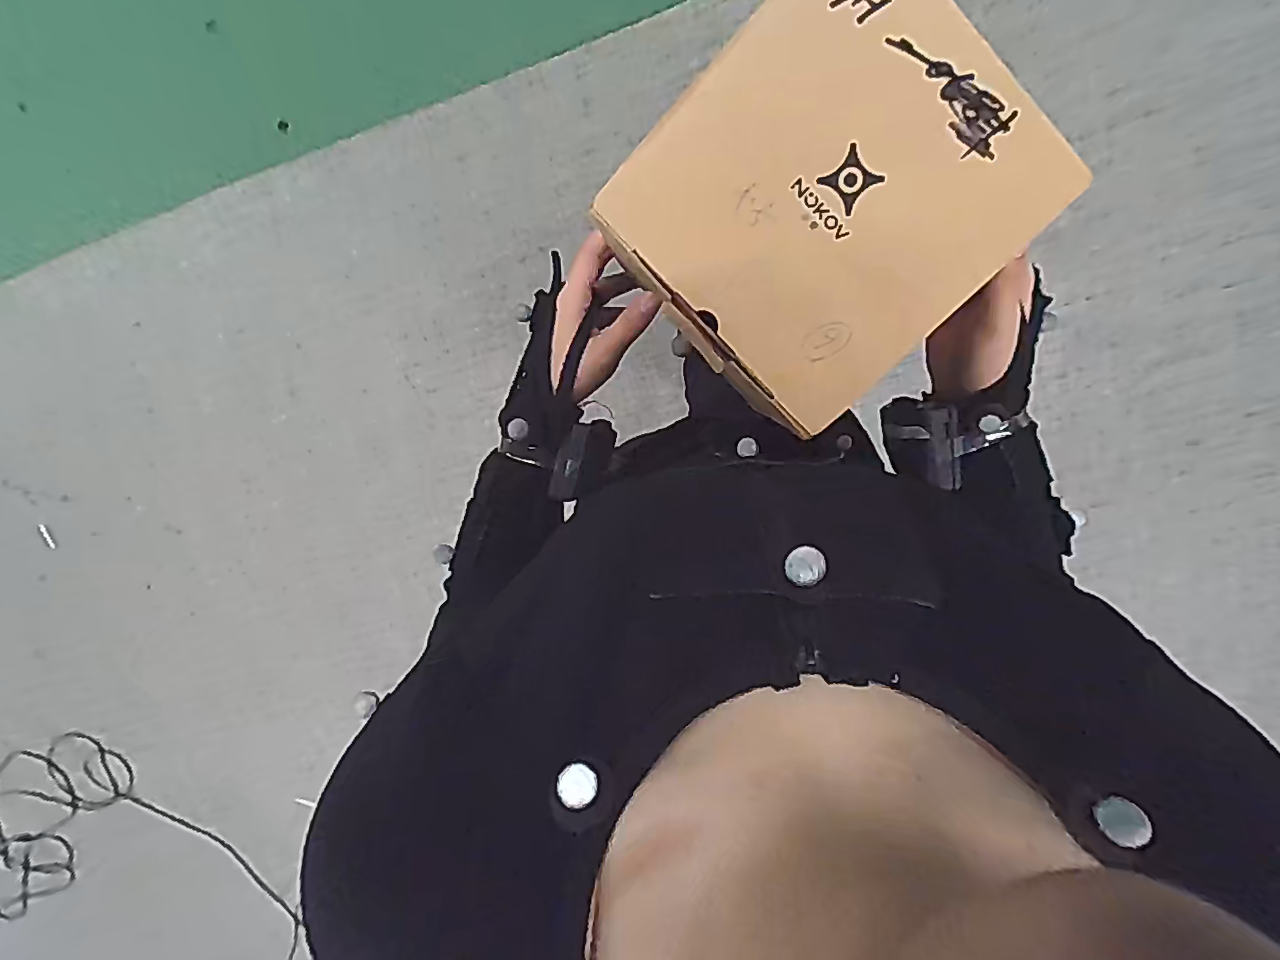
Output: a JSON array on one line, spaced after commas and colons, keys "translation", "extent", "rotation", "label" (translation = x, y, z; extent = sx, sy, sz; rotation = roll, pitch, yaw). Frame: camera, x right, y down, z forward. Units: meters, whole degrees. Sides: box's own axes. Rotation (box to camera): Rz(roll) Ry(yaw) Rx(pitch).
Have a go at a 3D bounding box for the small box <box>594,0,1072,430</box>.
[{"translation": [0.098, -0.156, 0.346], "extent": [0.168, 0.176, 0.179], "rotation": [45, 102, -6], "label": "small box"}]
